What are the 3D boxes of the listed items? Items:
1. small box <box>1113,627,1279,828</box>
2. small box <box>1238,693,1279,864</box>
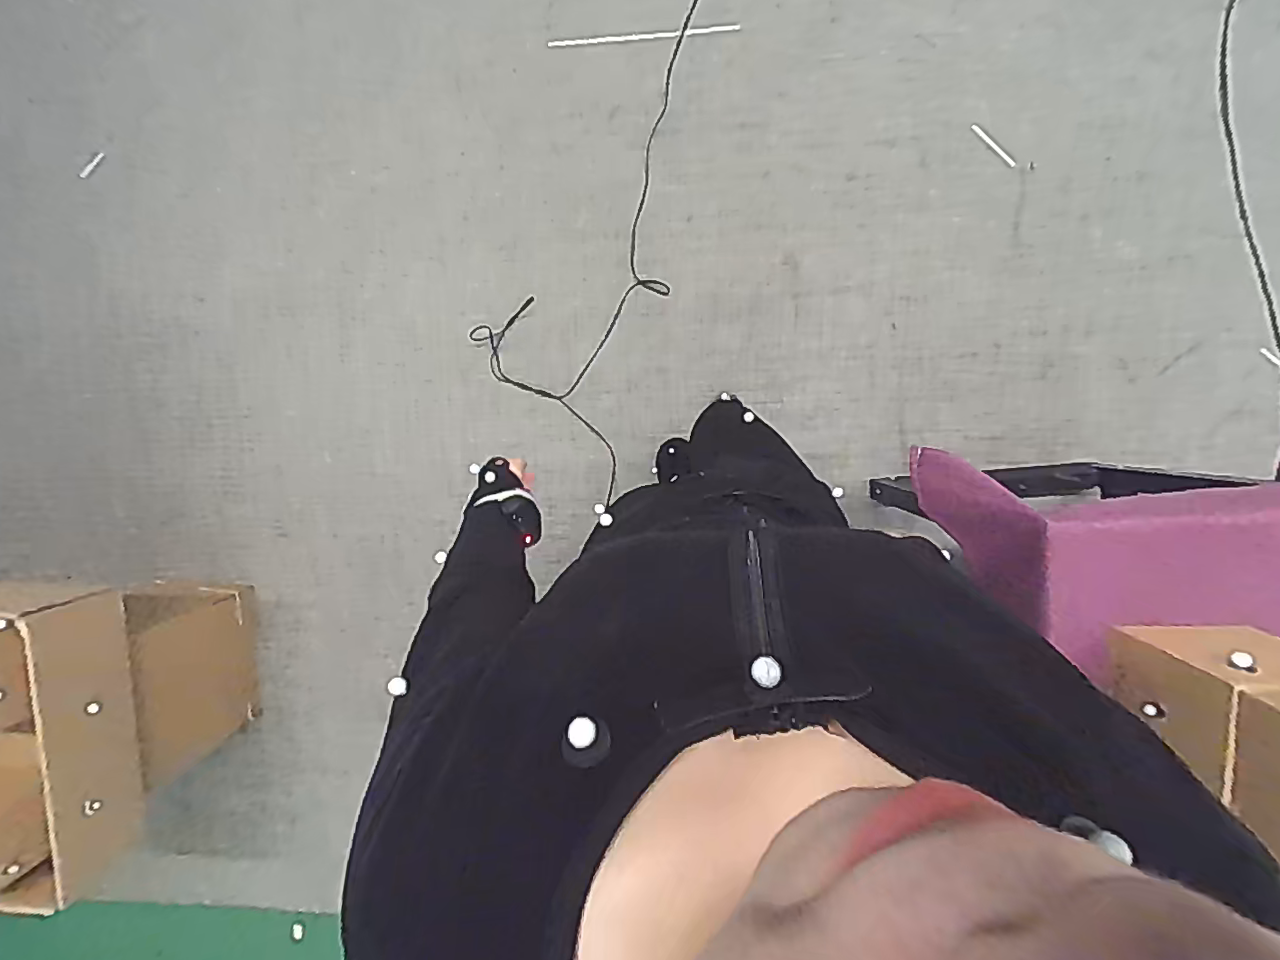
[{"bbox_3d":[0.724,0.286,0.650,0.179,0.176,0.168,-1,97,4],"label":"small box"},{"bbox_3d":[0.713,0.311,0.489,0.168,0.176,0.179,-2,97,6],"label":"small box"}]
